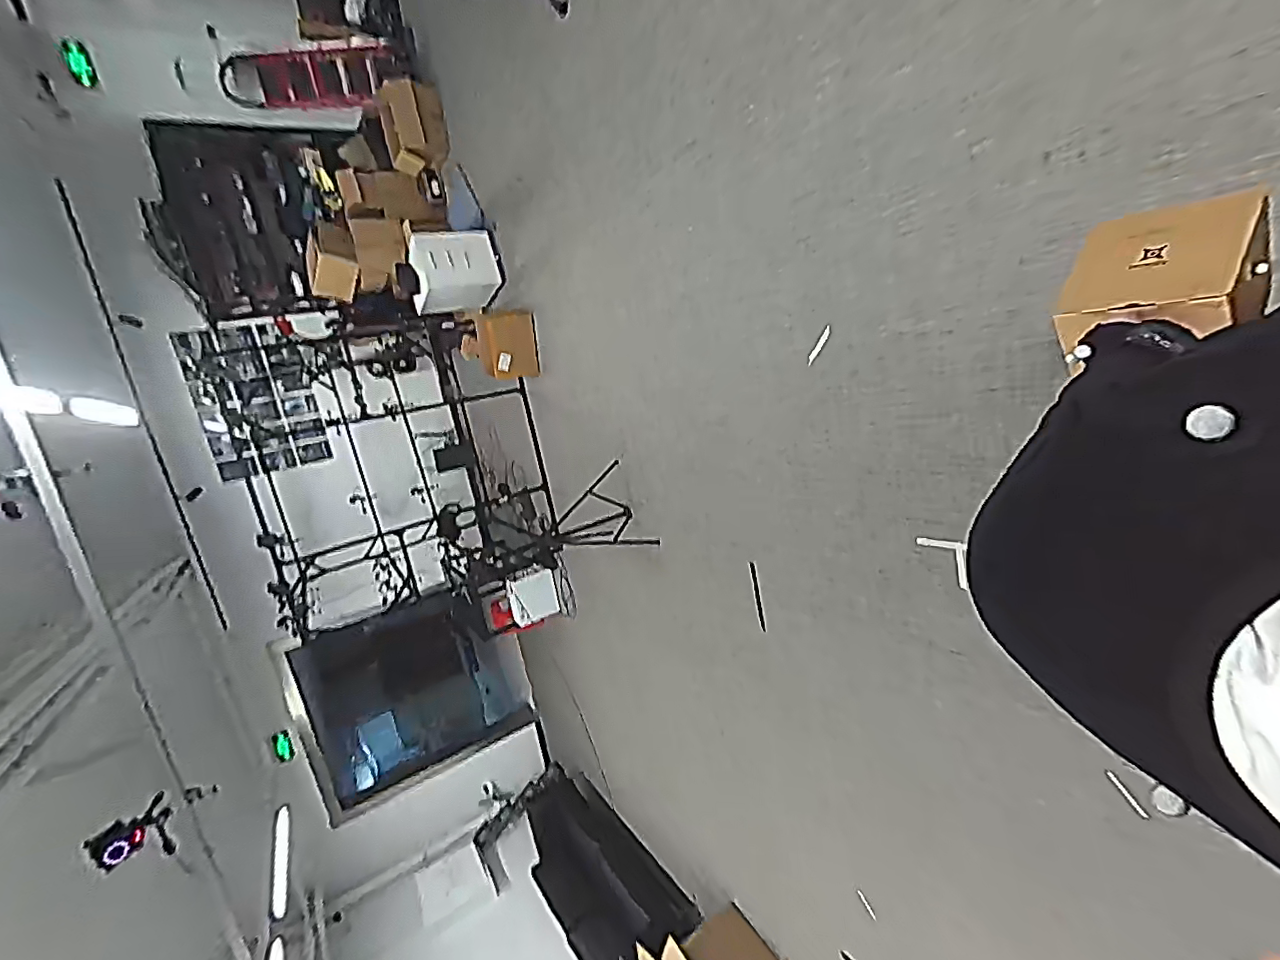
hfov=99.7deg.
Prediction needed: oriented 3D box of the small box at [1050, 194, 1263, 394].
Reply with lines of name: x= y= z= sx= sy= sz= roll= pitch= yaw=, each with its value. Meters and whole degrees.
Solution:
small box: x=0.688 y=-0.230 z=0.719 sx=0.176 sy=0.179 sz=0.168 roll=41 pitch=164 yaw=-33
